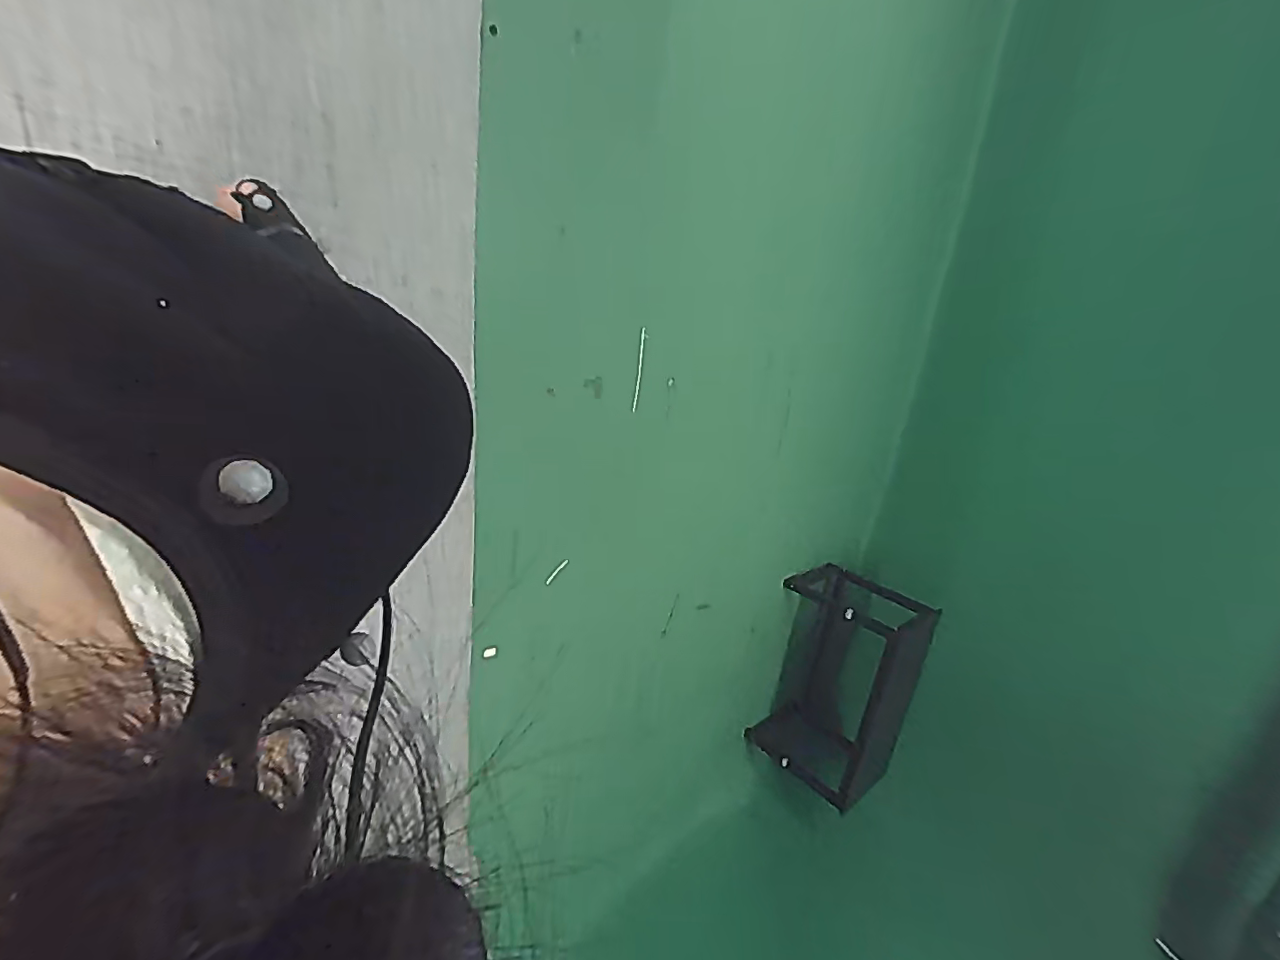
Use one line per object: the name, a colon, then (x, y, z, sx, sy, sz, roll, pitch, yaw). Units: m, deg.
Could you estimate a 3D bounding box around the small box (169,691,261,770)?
small box: (-1.062, 0.653, 1.350, 0.168, 0.176, 0.179, -3, 110, -42)
